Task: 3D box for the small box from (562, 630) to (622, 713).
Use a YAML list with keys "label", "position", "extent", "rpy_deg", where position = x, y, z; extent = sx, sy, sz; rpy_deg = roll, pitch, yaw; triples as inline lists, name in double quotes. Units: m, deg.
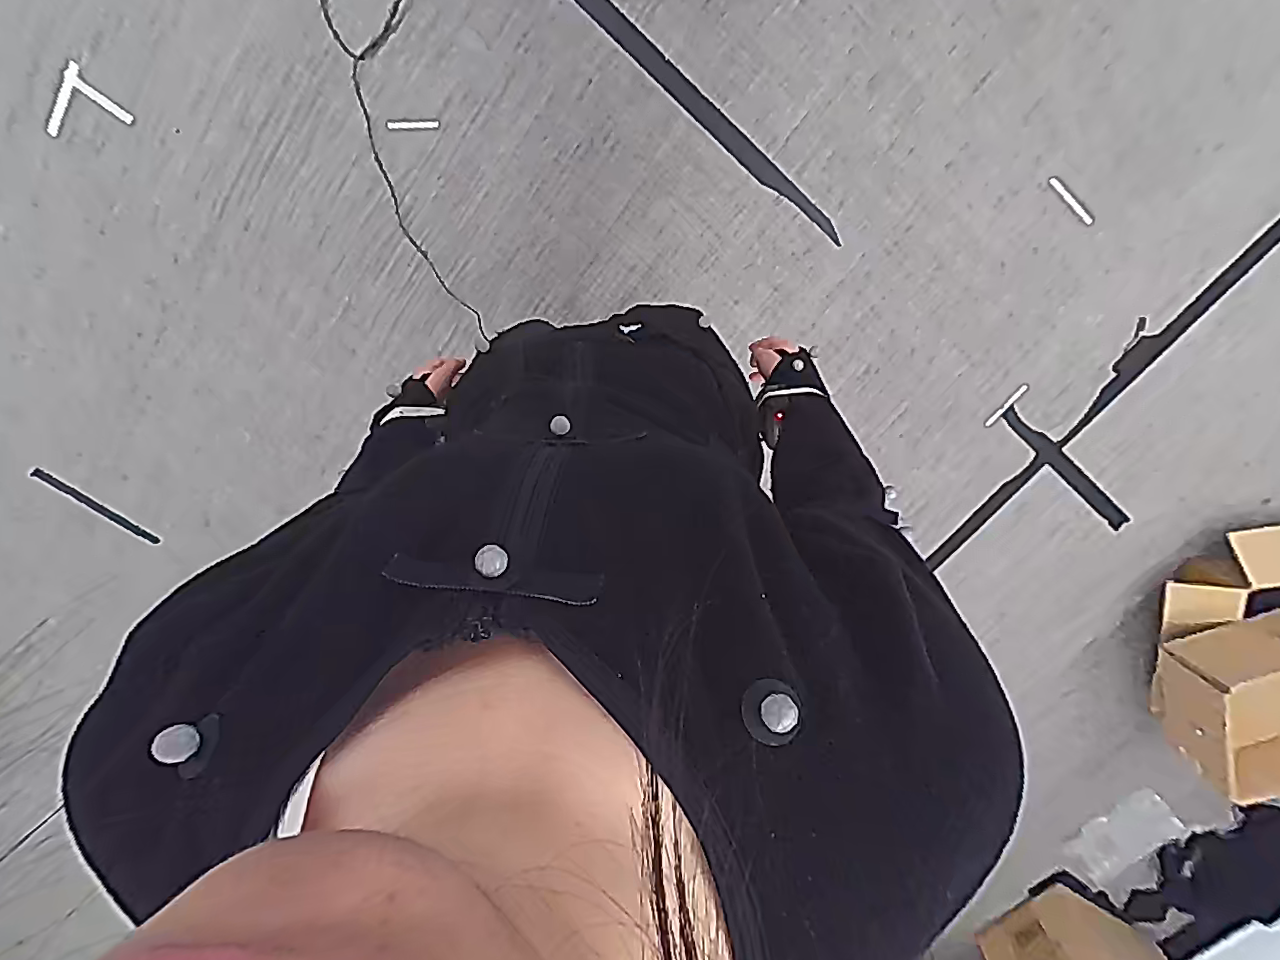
- label: "small box"
  position: [-0.142, 0.568, 1.621]
  extent: [0.168, 0.176, 0.179]
  rpy_deg: [1, 110, 1]
